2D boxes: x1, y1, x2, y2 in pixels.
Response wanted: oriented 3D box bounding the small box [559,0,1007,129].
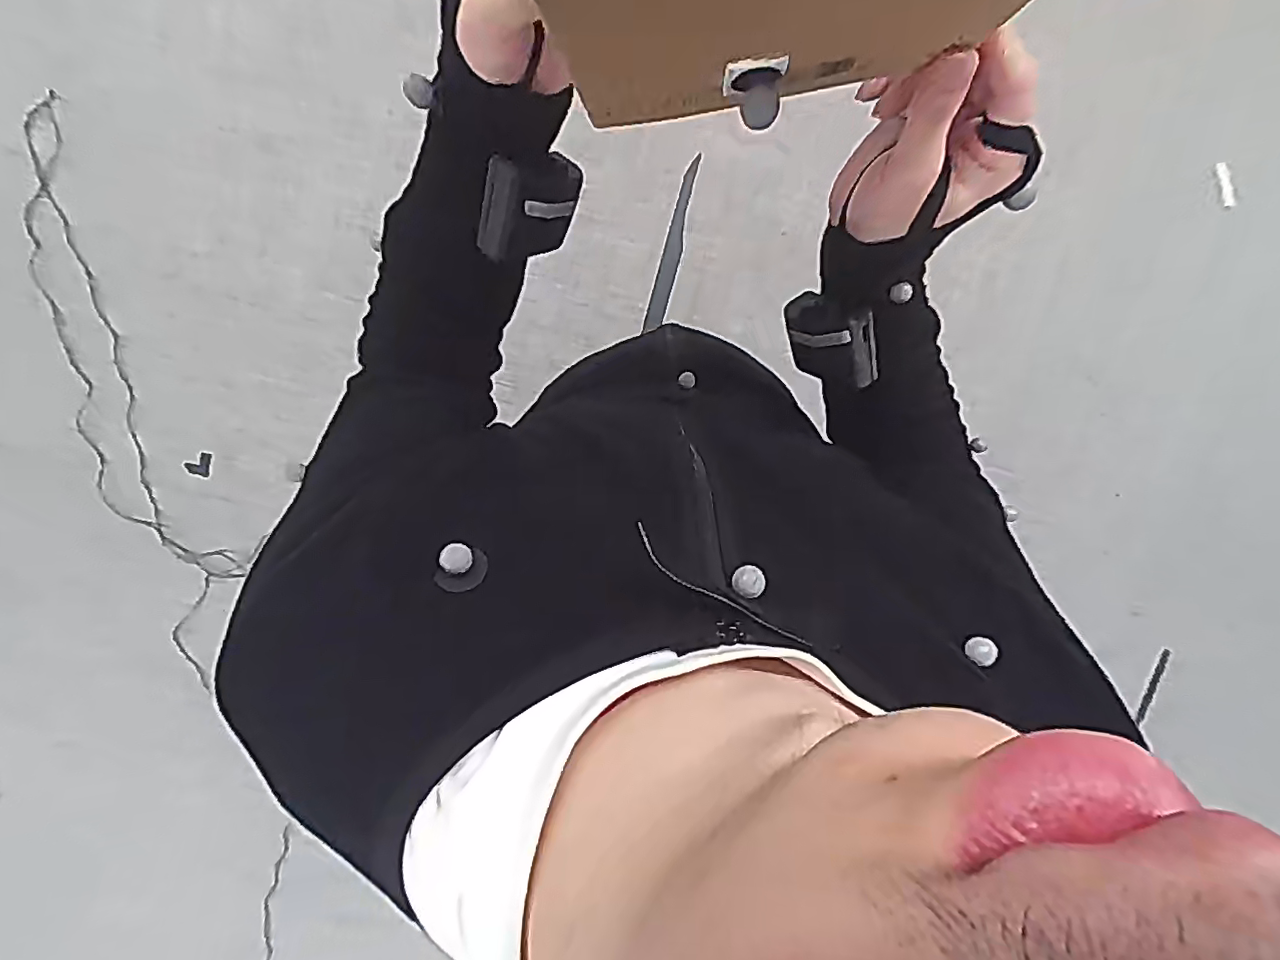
[{"bbox_3d":[0.042,-0.236,0.154,0.168,0.176,0.179,-7,108,8],"label":"small box"}]
